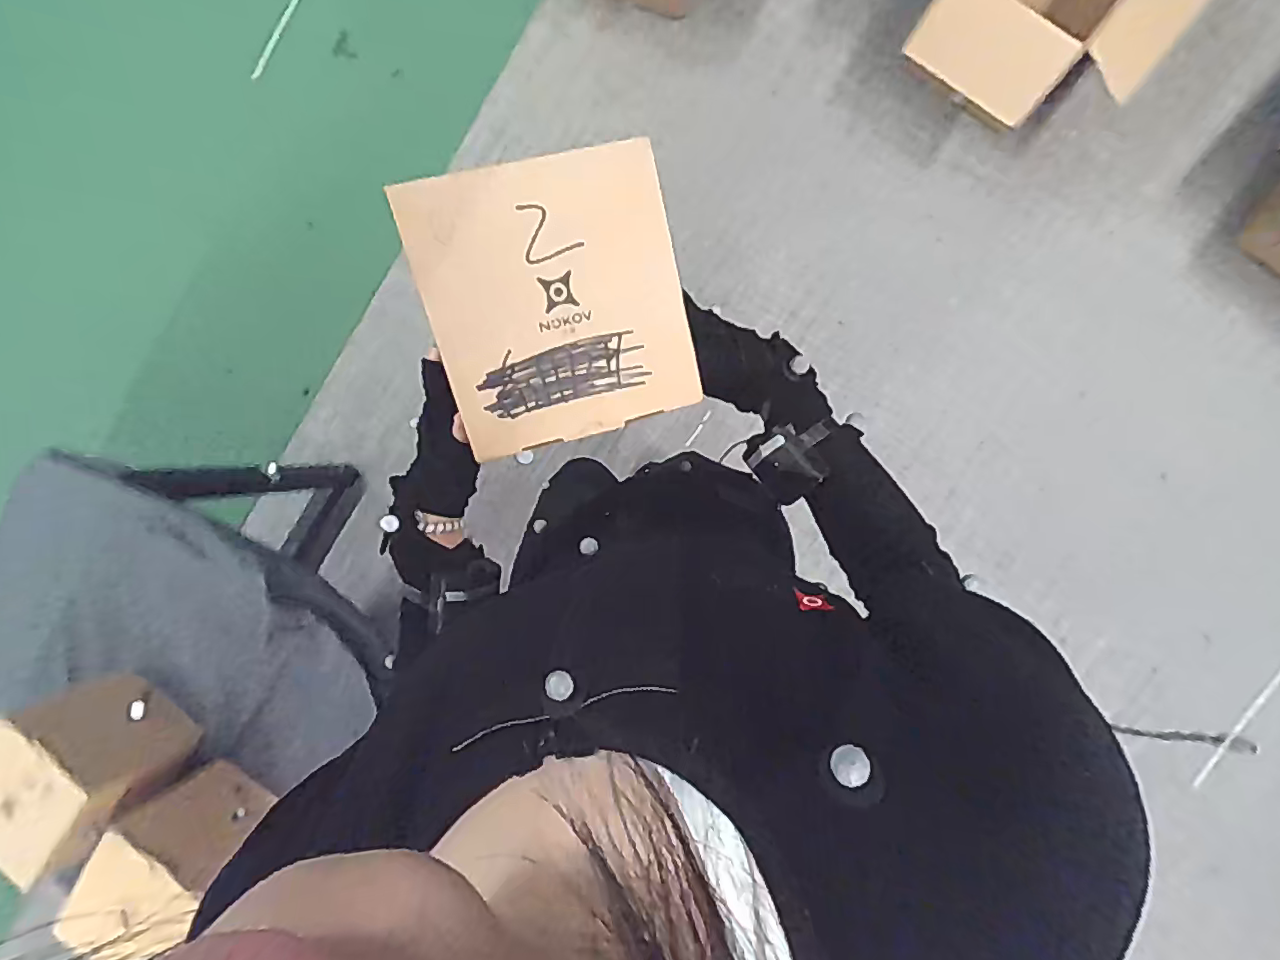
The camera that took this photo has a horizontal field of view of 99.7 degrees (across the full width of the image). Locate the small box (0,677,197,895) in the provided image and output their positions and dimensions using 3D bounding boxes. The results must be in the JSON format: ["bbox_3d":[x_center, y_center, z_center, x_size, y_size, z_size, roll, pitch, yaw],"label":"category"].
[{"bbox_3d":[-0.809,0.428,0.786,0.168,0.176,0.179,37,96,3],"label":"small box"}]
